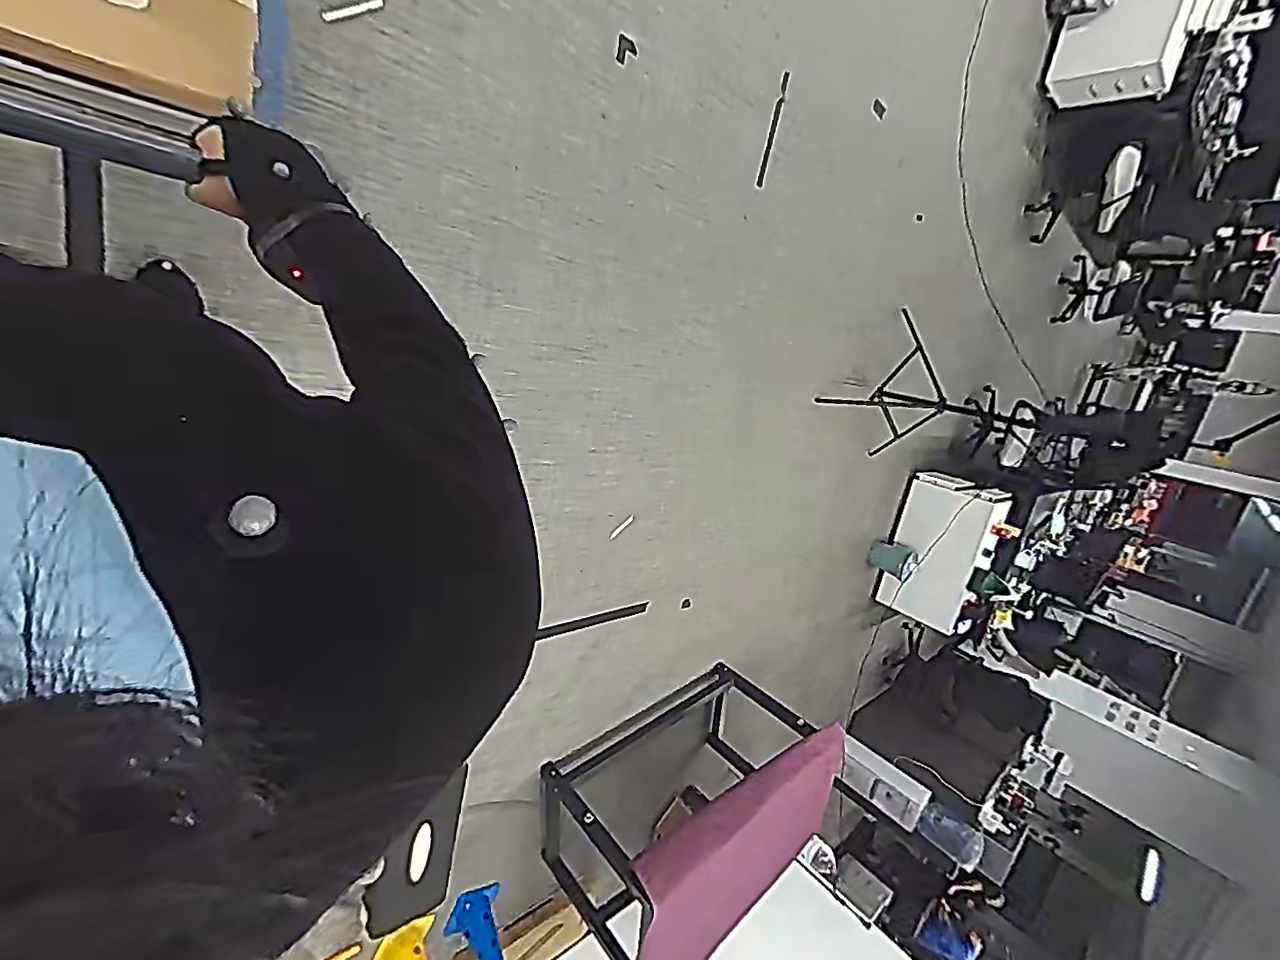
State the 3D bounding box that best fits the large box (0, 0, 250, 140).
[{"bbox_3d":[-0.773,-0.691,0.695,0.408,0.320,0.320,-3,113,-44],"label":"large box"}]
